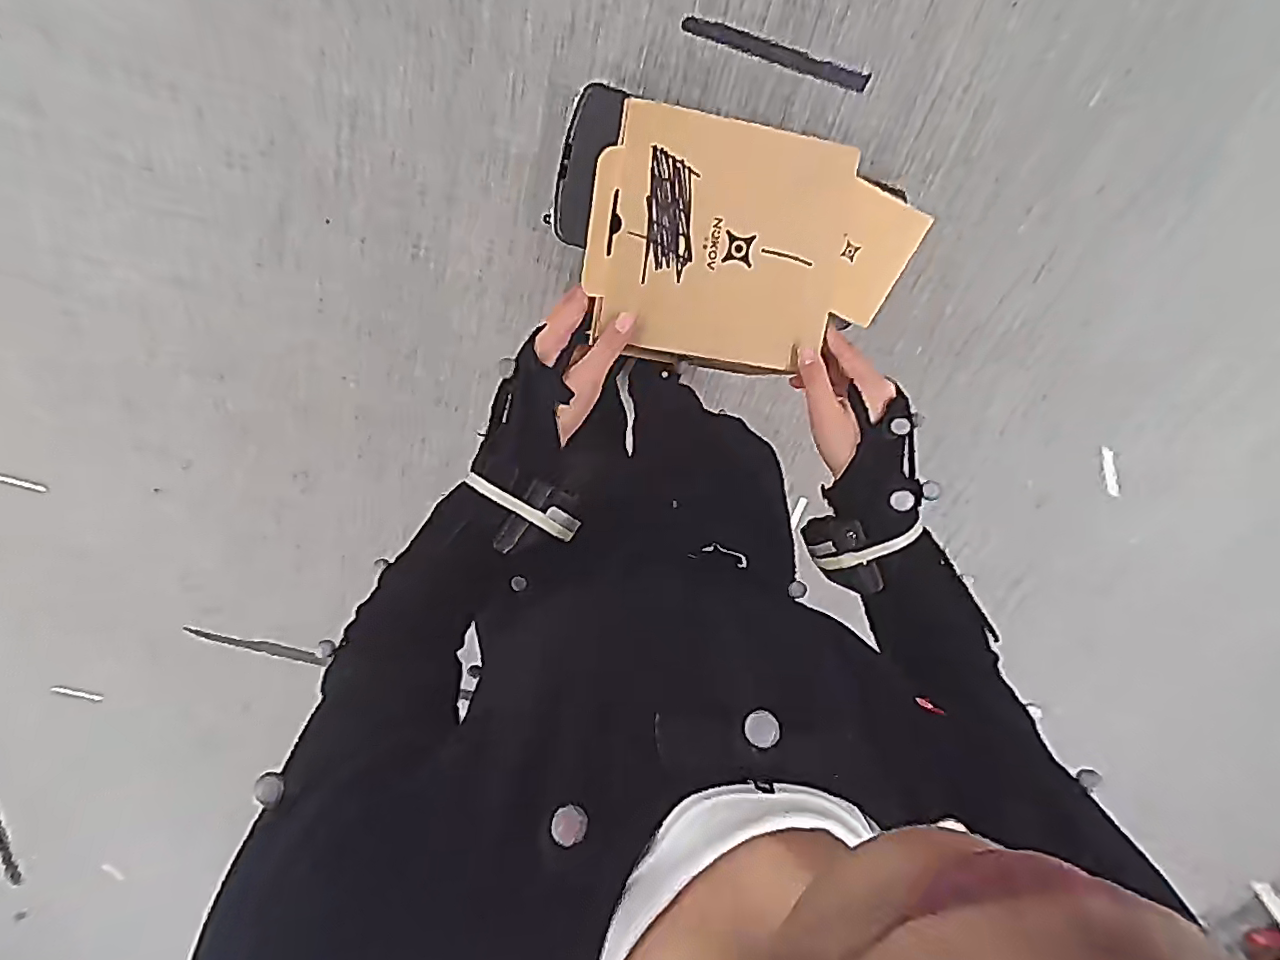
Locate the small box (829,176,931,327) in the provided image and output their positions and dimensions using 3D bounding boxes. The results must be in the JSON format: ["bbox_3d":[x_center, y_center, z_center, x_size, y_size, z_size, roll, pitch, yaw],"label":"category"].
[{"bbox_3d":[0.292,-0.361,0.830,0.179,0.176,0.168,23,115,-9],"label":"small box"}]

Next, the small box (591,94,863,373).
[{"bbox_3d":[0.054,-0.187,0.466,0.179,0.176,0.168,7,101,-8],"label":"small box"}]
